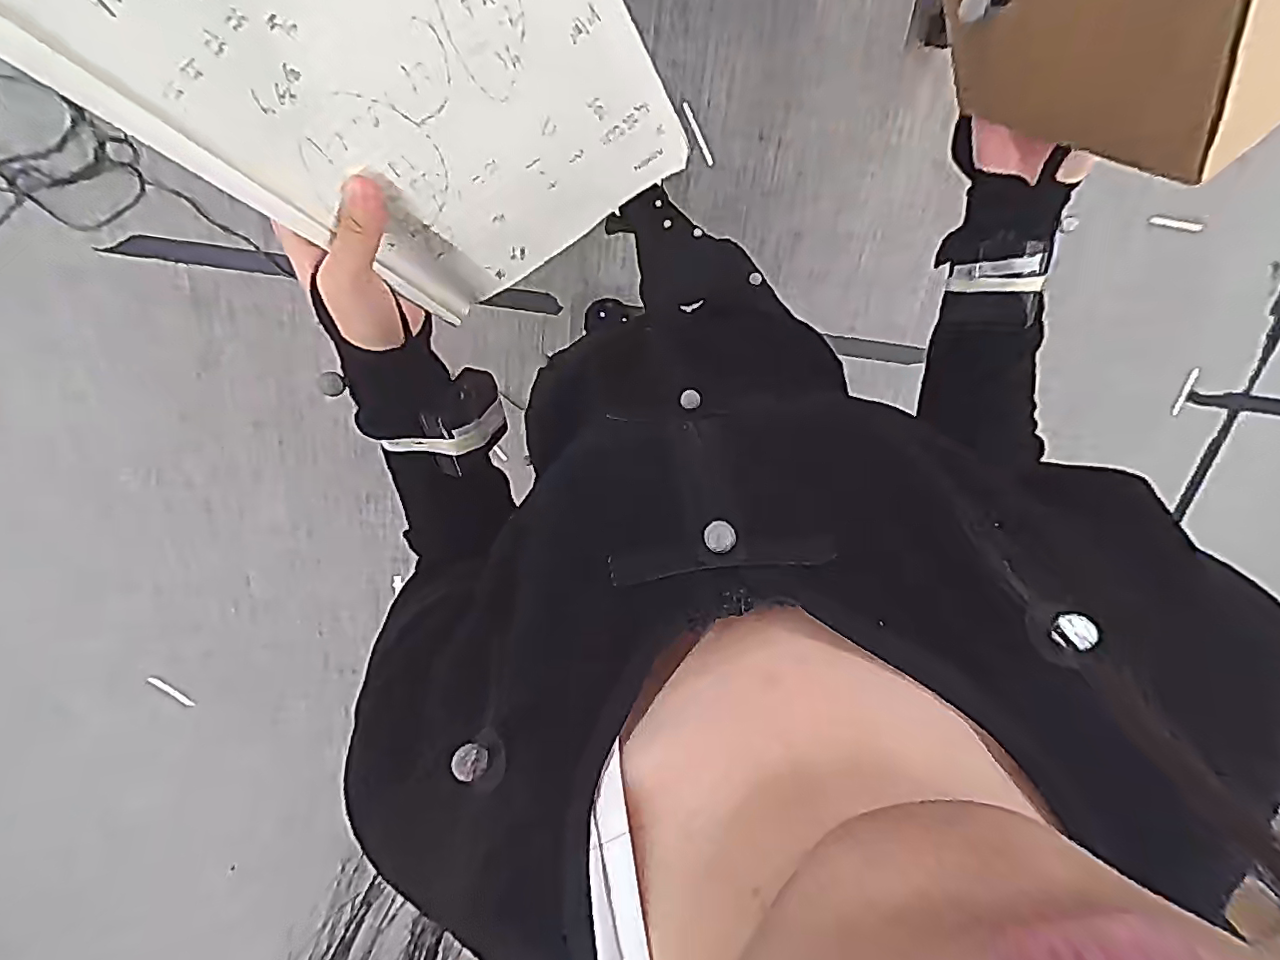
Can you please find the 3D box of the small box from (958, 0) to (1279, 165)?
[{"bbox_3d":[0.269,-0.295,0.242,0.168,0.176,0.179,-40,140,14],"label":"small box"}]
